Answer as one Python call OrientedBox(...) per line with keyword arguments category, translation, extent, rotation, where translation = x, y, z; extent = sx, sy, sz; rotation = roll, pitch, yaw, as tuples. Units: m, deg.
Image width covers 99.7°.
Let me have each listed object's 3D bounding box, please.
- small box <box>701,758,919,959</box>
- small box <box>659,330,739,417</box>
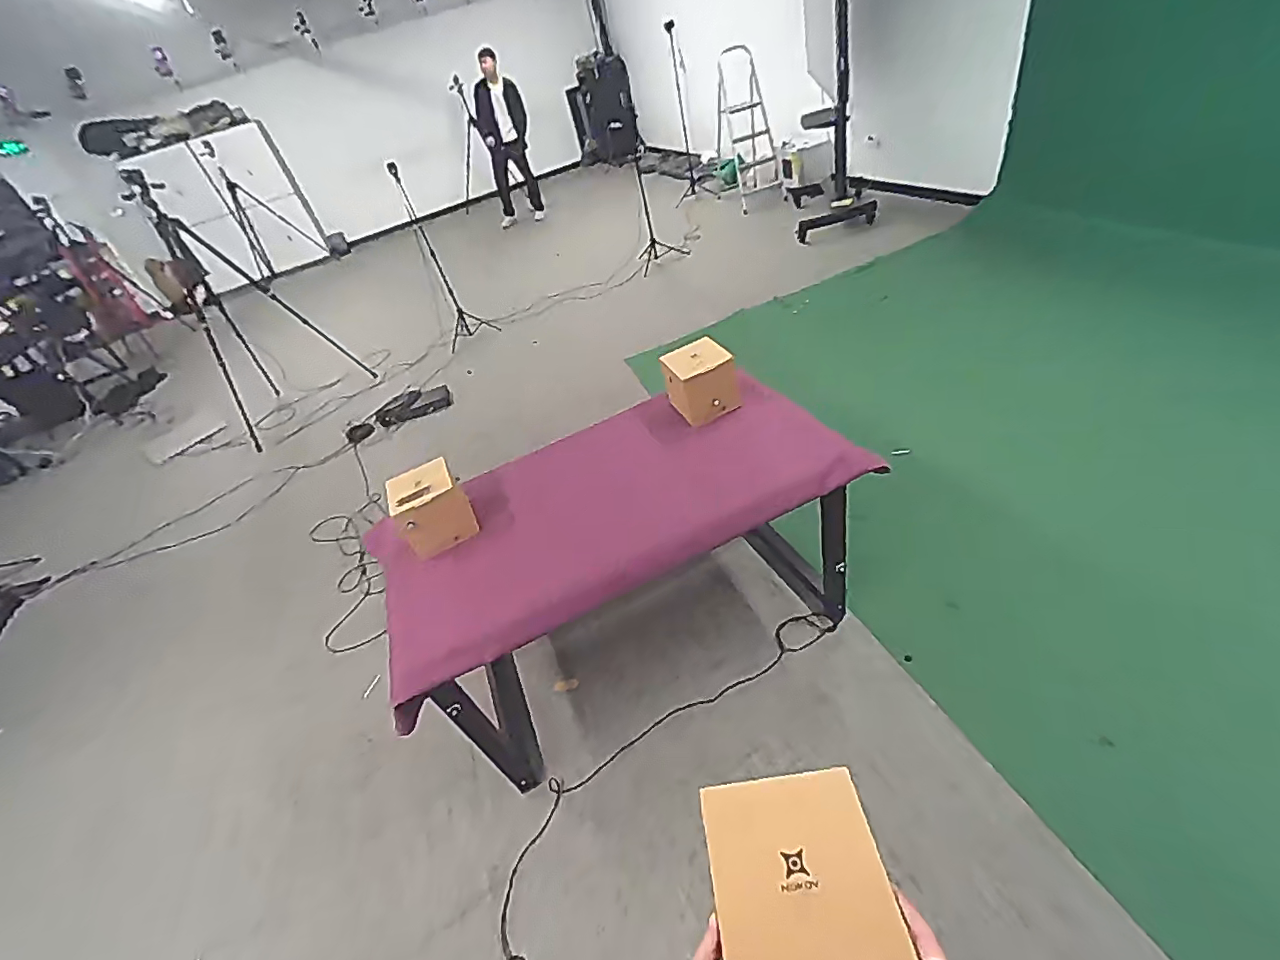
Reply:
OrientedBox(category="small box", translation=(0.160, 0.429, 0.571), extent=(0.168, 0.176, 0.179), rotation=(-9, 37, 2))
OrientedBox(category="small box", translation=(0.177, -0.315, 1.606), extent=(0.168, 0.176, 0.179), rotation=(-25, 41, -7))
